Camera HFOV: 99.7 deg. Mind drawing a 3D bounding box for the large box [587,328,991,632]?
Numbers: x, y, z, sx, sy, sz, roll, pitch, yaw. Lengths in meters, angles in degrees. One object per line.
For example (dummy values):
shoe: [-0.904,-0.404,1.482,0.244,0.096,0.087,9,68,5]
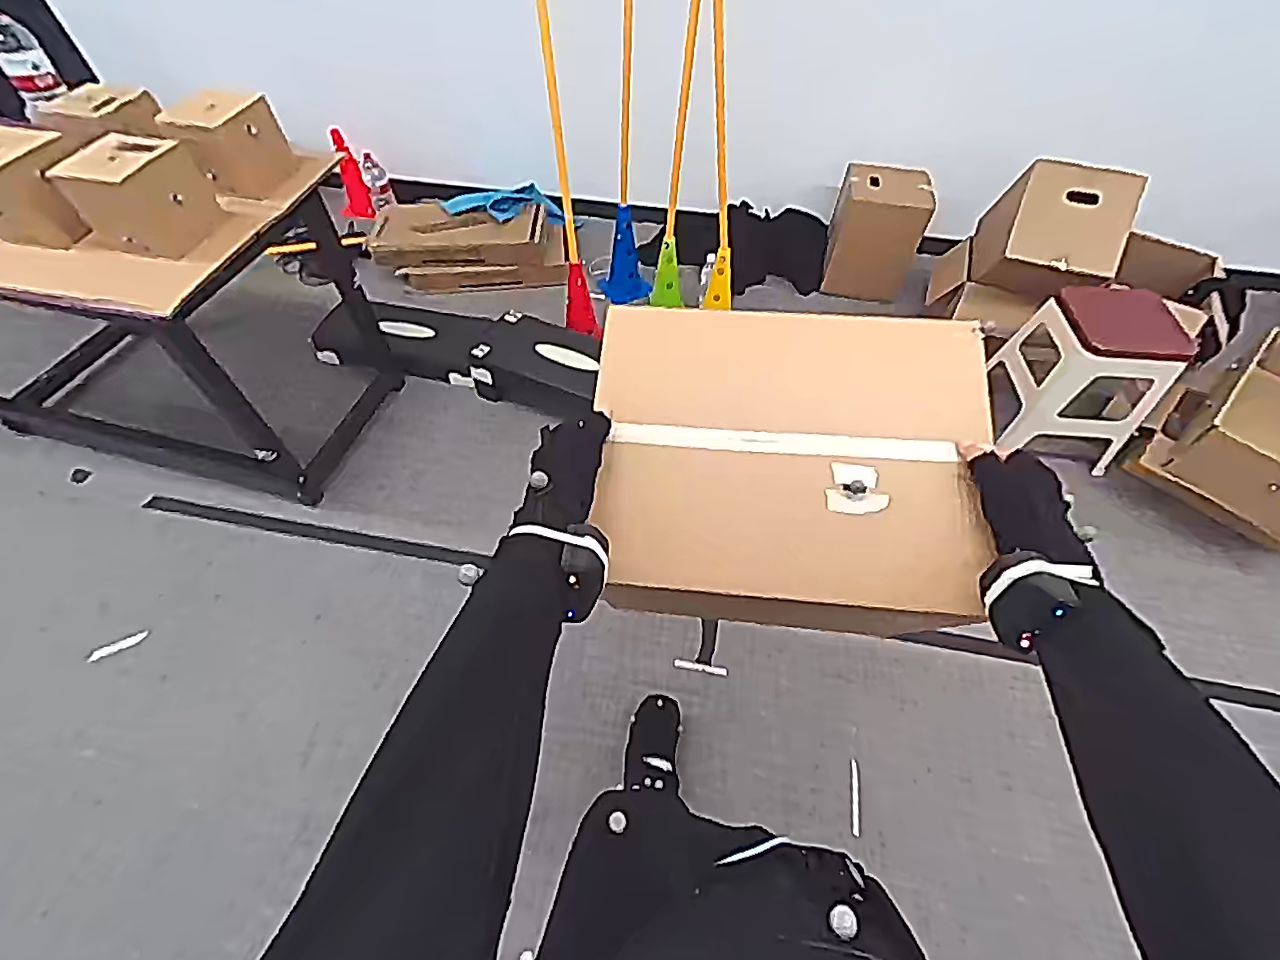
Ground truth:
large box: [0.160,0.022,0.720,0.408,0.320,0.320,4,72,5]
